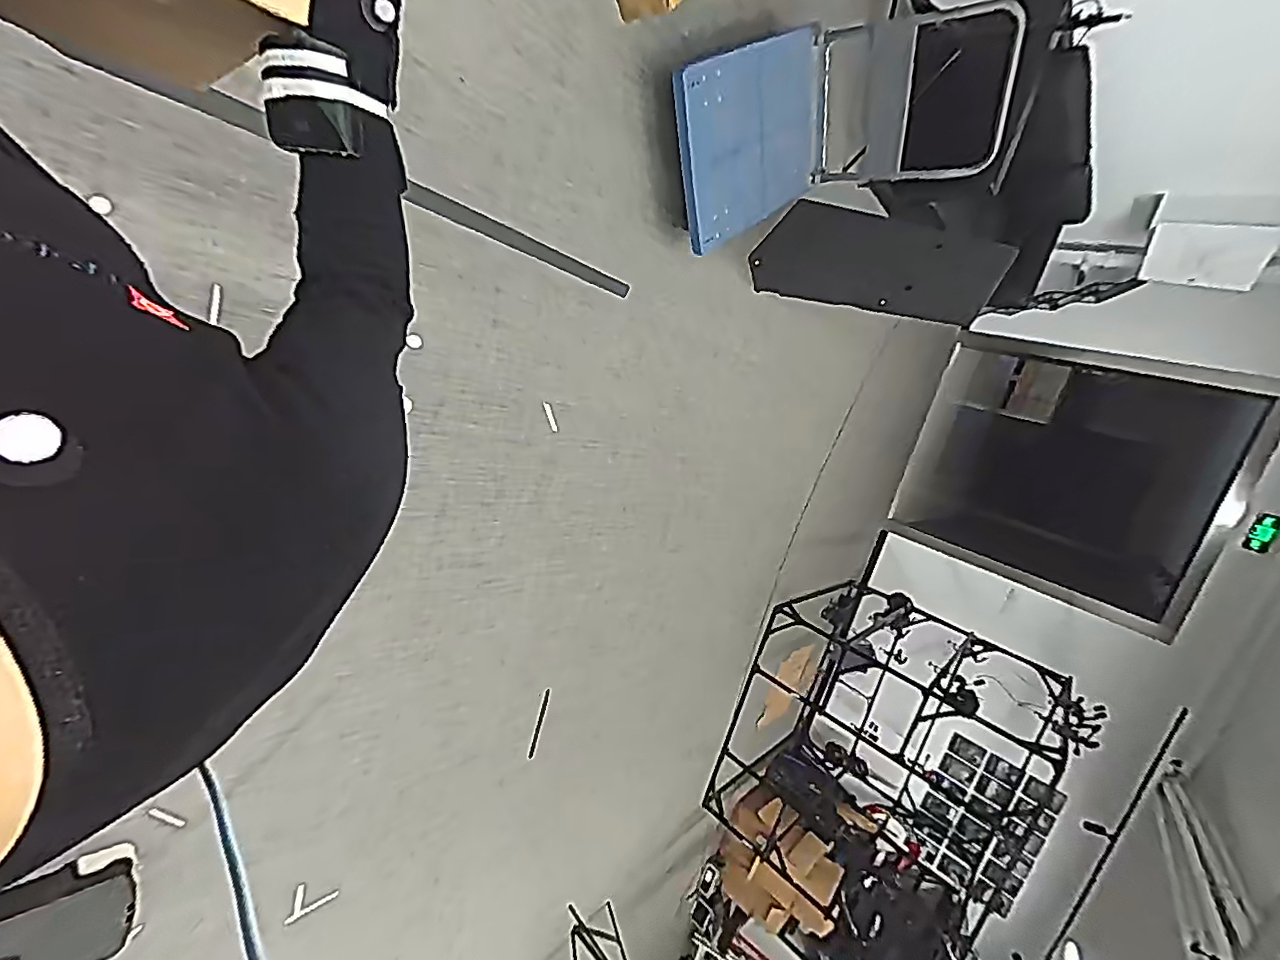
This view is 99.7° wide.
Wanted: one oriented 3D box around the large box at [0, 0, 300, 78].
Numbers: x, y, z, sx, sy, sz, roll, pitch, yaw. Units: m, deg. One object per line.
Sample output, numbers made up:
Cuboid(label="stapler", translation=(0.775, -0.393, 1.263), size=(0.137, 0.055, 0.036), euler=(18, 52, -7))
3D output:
Cuboid(label="large box", translation=(-0.434, -0.480, 0.260), size=(0.408, 0.320, 0.320), euler=(-5, 112, -48))
